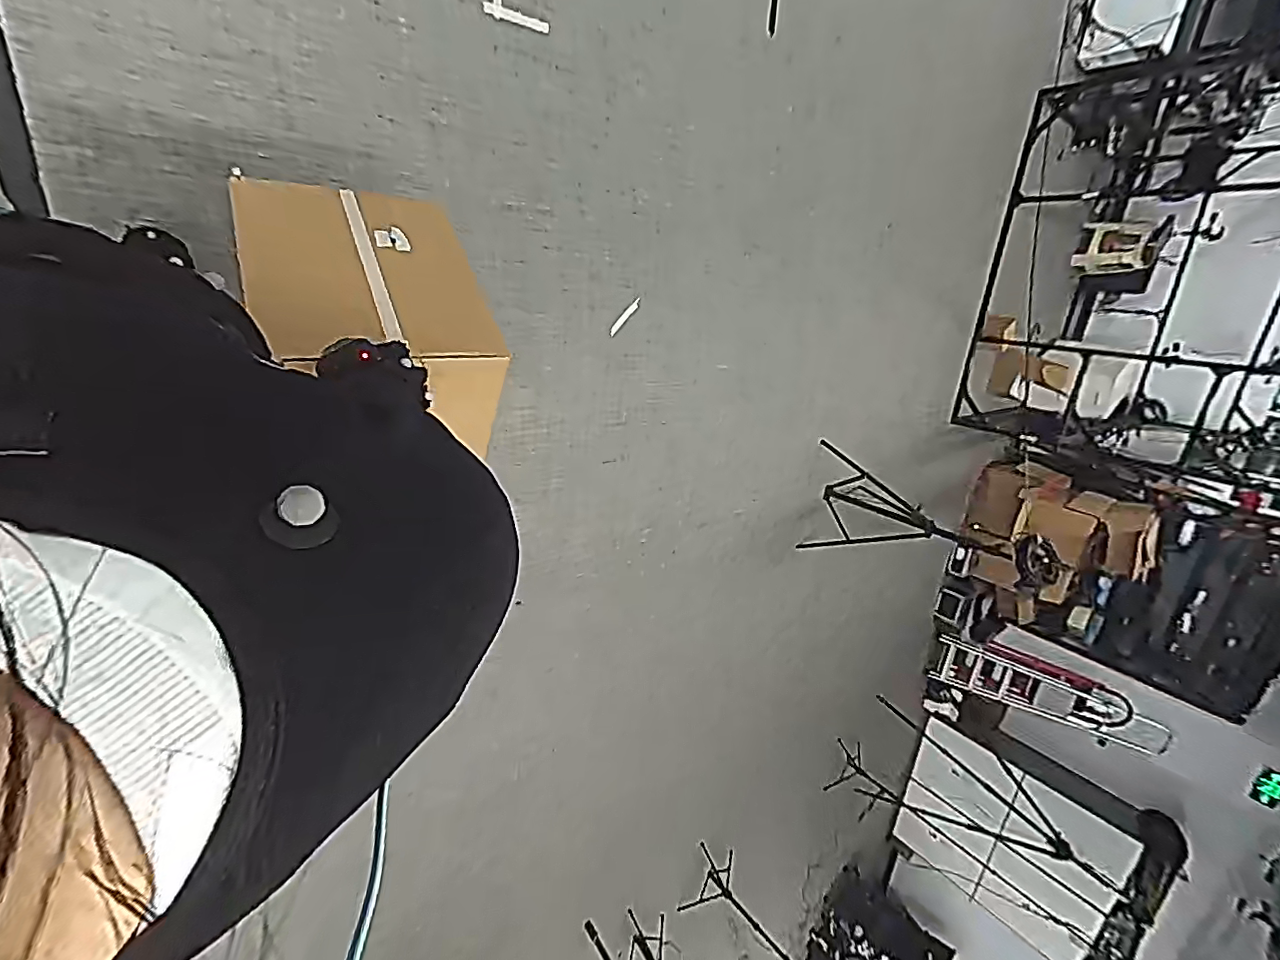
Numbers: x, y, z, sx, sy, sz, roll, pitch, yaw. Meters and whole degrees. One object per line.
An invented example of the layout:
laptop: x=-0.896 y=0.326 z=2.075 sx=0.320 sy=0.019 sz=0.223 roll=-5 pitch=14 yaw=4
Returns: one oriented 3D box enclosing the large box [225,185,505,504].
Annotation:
large box: x=-0.464 y=-0.225 z=0.915 sx=0.320 sy=0.408 sz=0.320 roll=-10 pitch=147 yaw=-34
